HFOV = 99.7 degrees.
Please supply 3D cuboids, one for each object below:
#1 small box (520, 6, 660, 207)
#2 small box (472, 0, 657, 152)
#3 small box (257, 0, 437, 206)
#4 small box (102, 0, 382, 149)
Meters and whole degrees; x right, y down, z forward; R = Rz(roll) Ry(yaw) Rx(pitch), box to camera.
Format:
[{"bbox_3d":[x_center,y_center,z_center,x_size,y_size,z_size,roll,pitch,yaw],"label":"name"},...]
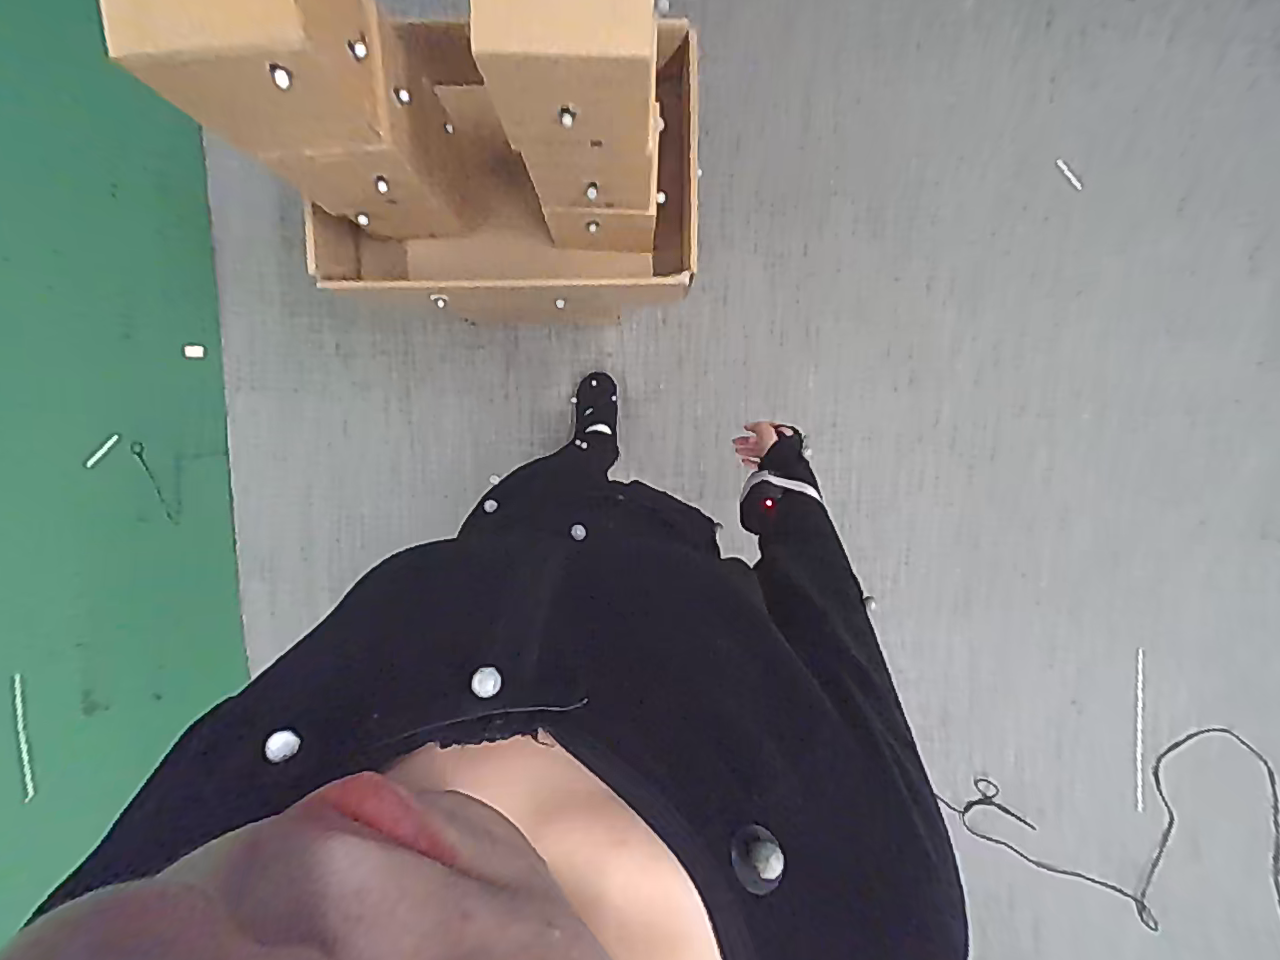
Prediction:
[{"bbox_3d":[-0.060,-0.487,0.724,0.168,0.176,0.179,2,95,-1],"label":"small box"},{"bbox_3d":[-0.067,-0.471,0.560,0.168,0.176,0.179,2,94,-1],"label":"small box"},{"bbox_3d":[-0.386,-0.485,0.723,0.168,0.176,0.179,-5,94,-1],"label":"small box"},{"bbox_3d":[-0.399,-0.472,0.561,0.179,0.176,0.168,-6,95,-2],"label":"small box"}]
